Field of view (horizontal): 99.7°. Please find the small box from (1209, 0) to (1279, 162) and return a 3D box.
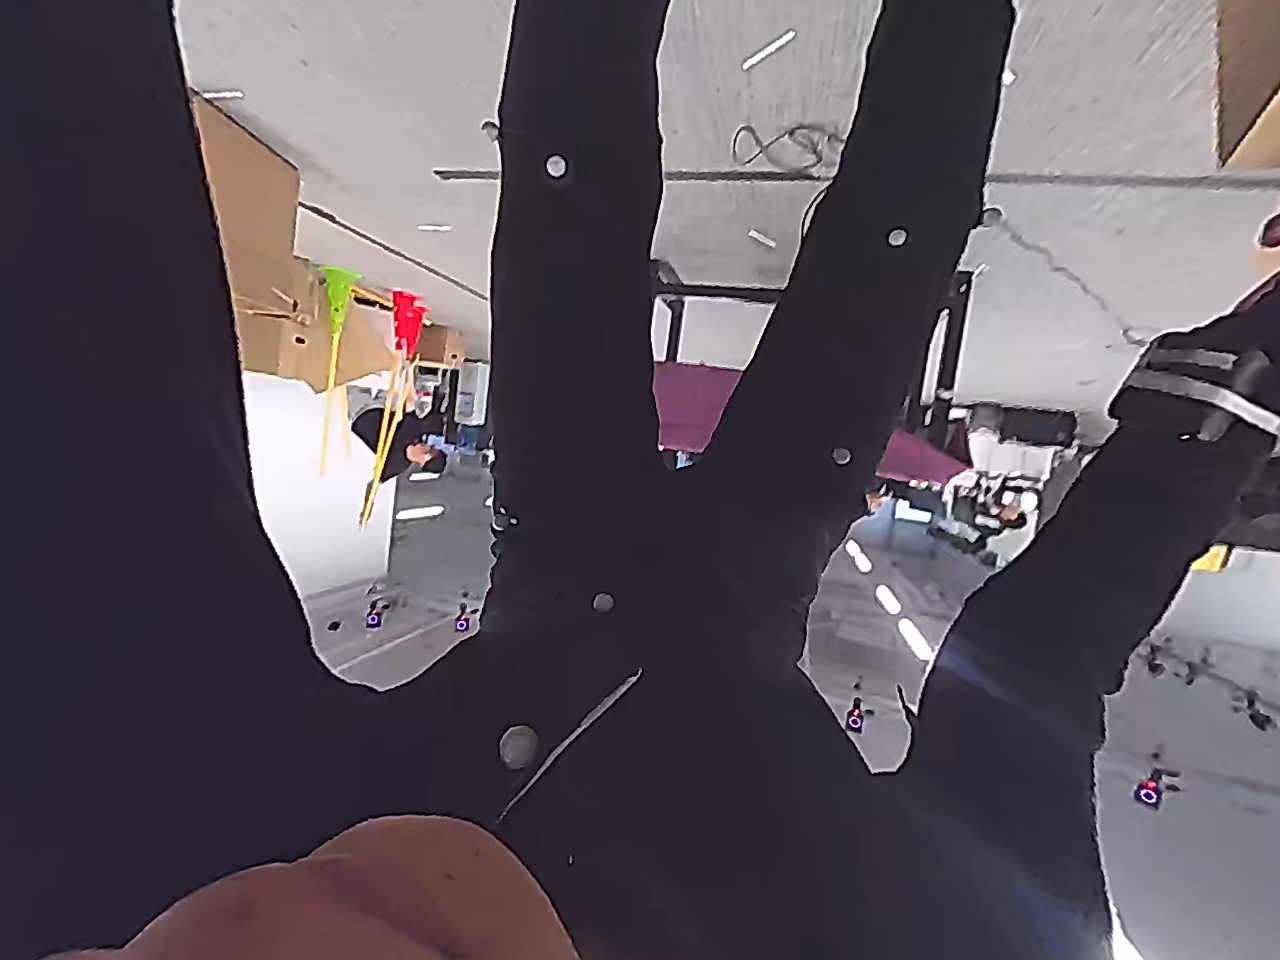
[{"bbox_3d":[0.414,-0.285,0.242,0.168,0.176,0.179,9,163,24],"label":"small box"}]
